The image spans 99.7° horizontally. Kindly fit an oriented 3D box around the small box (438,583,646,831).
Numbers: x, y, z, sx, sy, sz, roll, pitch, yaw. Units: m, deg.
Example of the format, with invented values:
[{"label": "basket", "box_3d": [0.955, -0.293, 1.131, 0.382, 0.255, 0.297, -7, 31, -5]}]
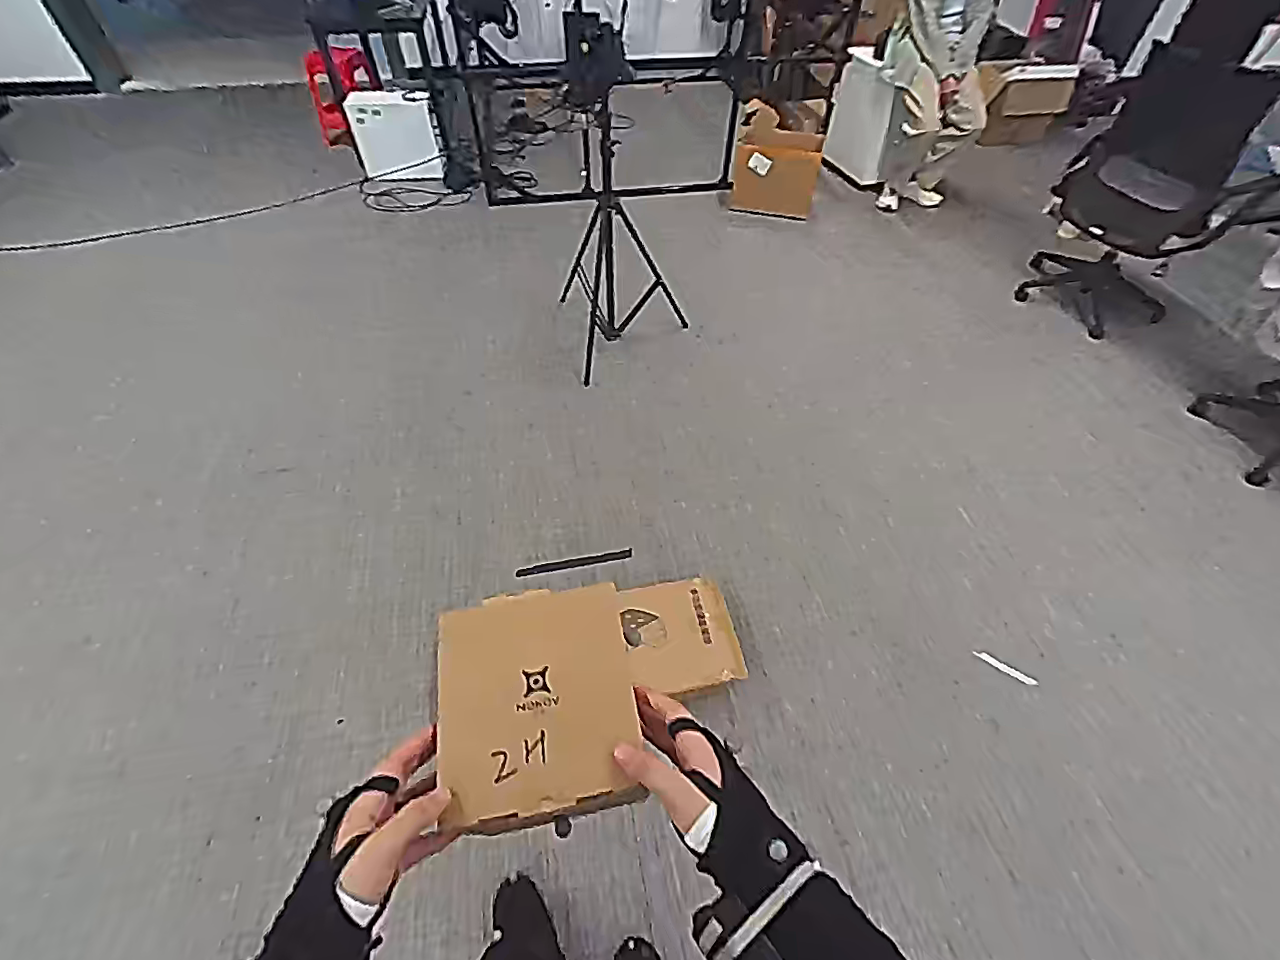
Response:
[{"label": "small box", "box_3d": [-0.091, 0.228, 0.537, 0.168, 0.176, 0.179, -10, 55, -6]}]
